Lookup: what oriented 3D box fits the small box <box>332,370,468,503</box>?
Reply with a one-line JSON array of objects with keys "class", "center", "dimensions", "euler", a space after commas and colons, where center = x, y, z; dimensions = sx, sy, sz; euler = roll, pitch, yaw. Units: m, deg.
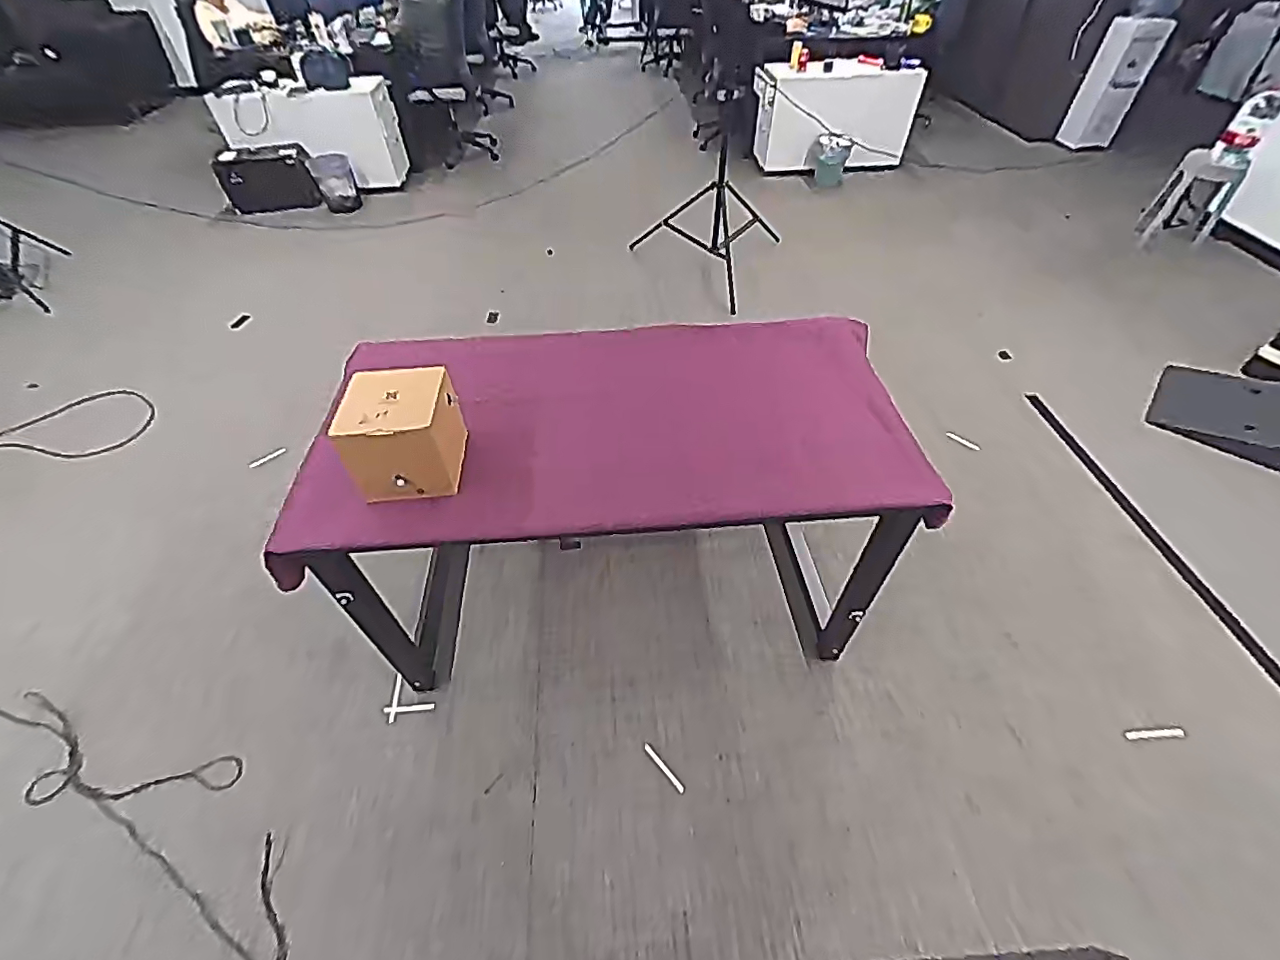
[{"class": "small box", "center": [-0.424, -0.080, 0.992], "dimensions": [0.168, 0.176, 0.179], "euler": [-5, 47, -3]}]
